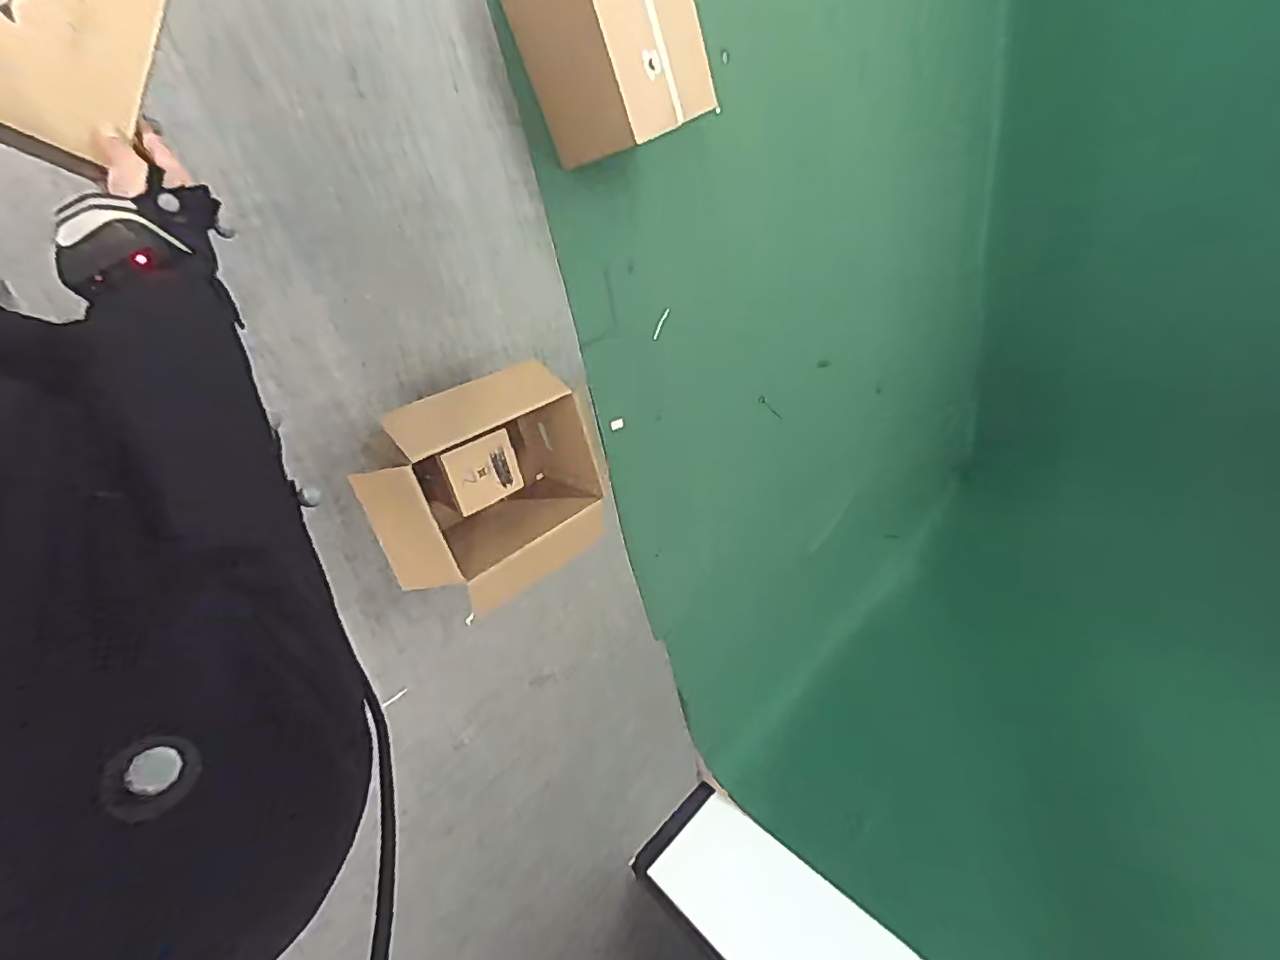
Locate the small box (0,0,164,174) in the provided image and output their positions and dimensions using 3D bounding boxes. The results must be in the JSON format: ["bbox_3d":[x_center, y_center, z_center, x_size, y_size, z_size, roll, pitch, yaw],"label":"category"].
[{"bbox_3d":[-0.517,-0.372,0.434,0.179,0.176,0.168,12,98,-47],"label":"small box"}]
